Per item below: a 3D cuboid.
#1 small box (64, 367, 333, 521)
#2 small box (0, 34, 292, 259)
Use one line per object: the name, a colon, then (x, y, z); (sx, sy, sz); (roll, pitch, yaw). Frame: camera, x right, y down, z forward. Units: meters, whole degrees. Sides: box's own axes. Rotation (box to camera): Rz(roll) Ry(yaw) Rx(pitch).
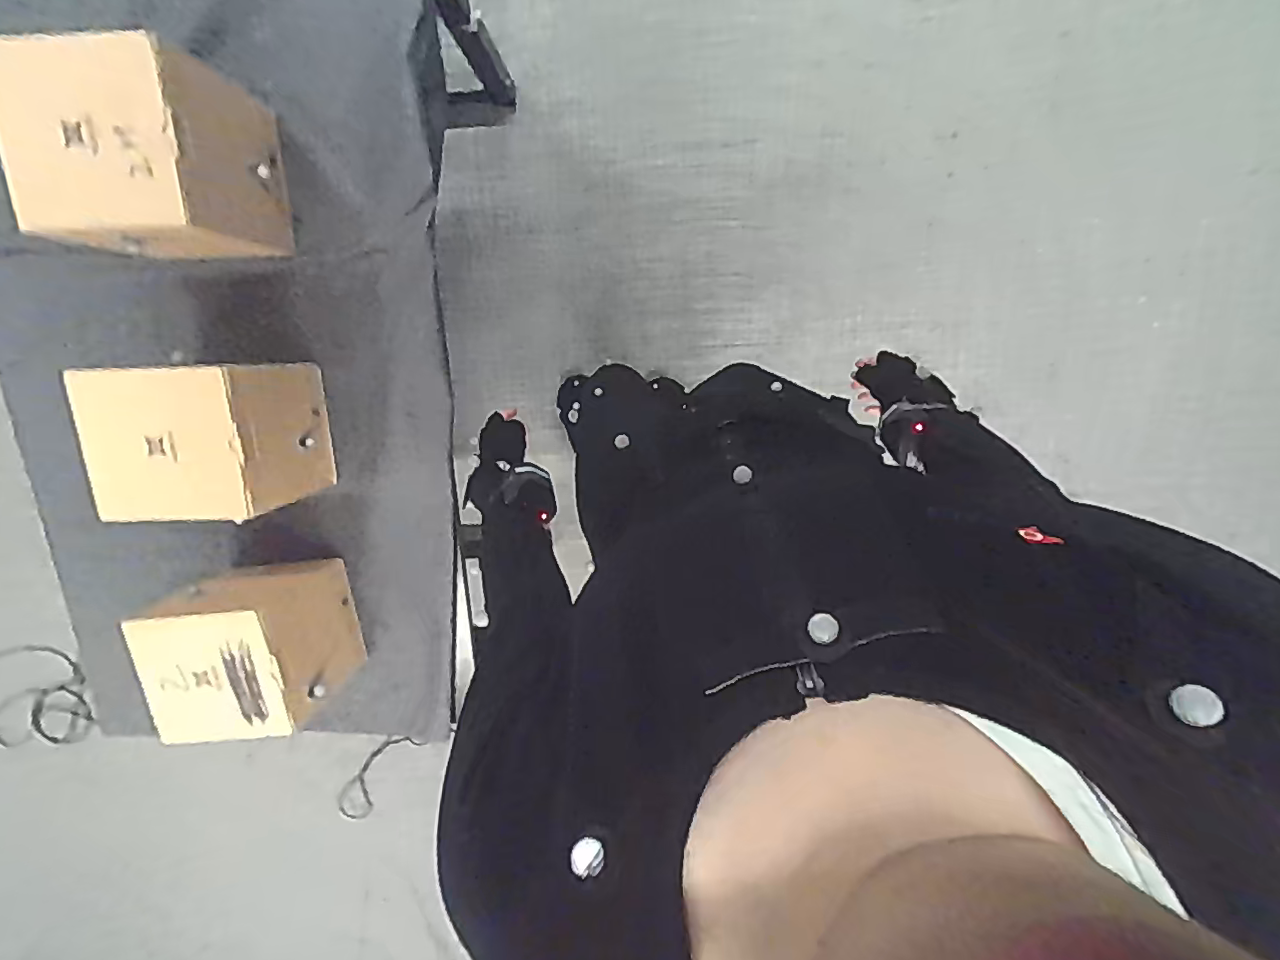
small box: (-0.512, -0.051, 0.656); (0.179, 0.176, 0.168); (-2, 102, 1)
small box: (-0.526, -0.341, 0.588); (0.179, 0.176, 0.168); (-1, 103, 1)
